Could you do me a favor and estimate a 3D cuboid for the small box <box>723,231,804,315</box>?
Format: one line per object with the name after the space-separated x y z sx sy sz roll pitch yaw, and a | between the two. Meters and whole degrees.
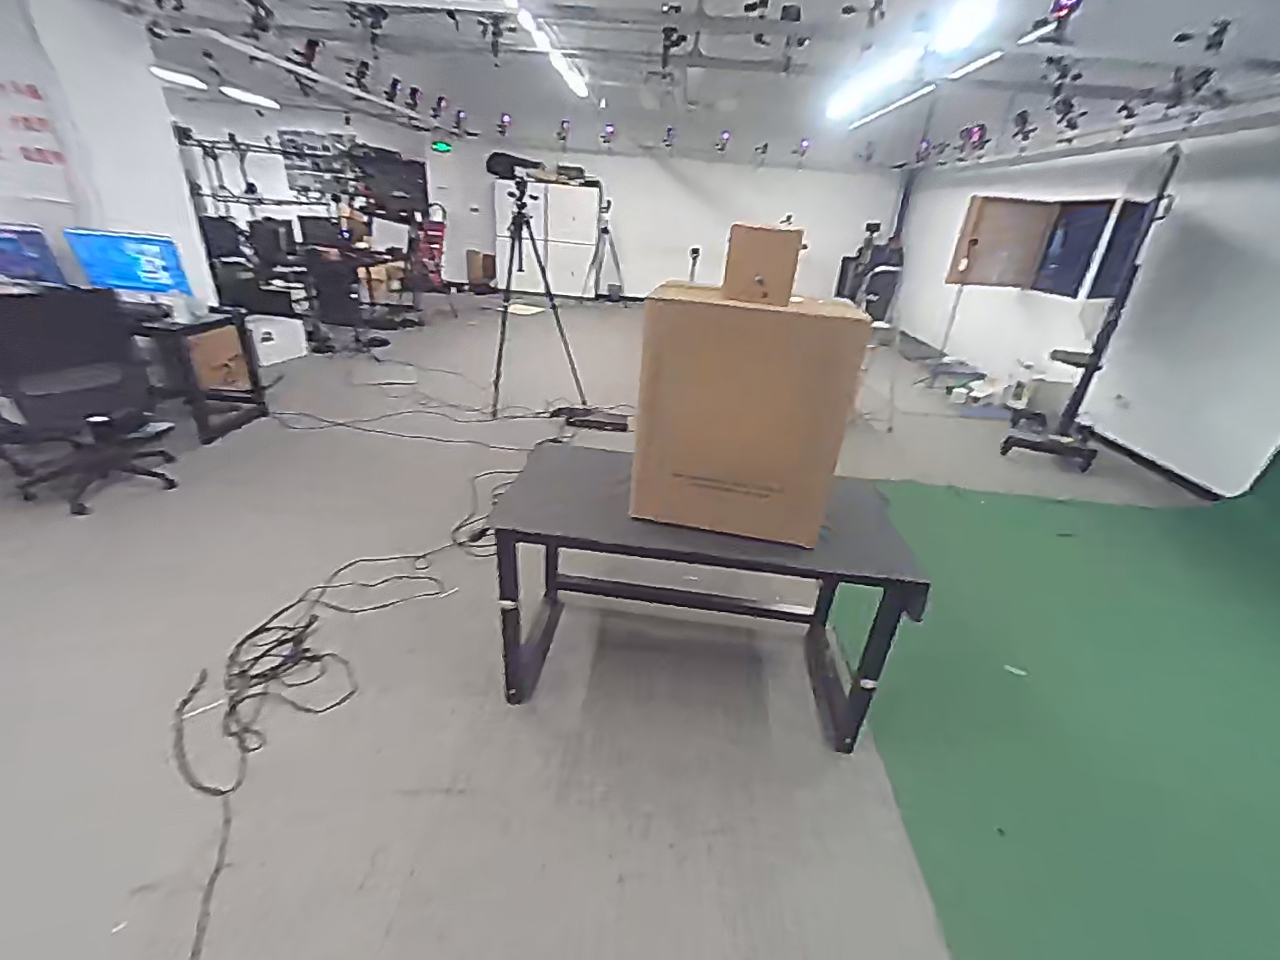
0.308 -0.521 1.353 0.168 0.176 0.179 11 29 12 | small box
